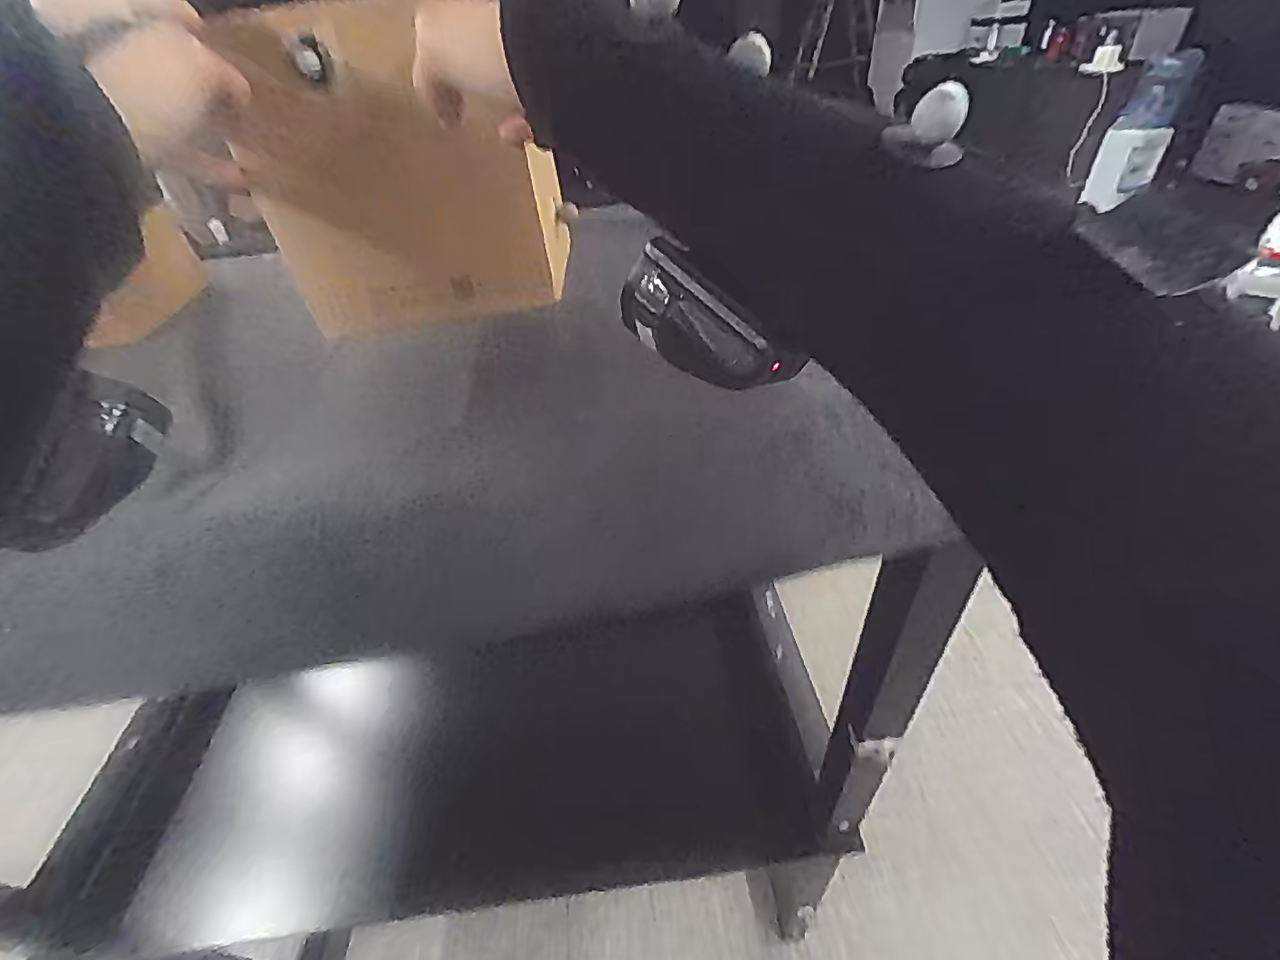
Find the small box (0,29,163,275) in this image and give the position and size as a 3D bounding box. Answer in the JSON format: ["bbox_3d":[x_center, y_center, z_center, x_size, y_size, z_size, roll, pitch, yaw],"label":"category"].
[{"bbox_3d":[-0.612,-0.300,0.505,0.168,0.176,0.179,-10,41,-5],"label":"small box"}]

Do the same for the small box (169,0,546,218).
[{"bbox_3d":[-0.159,-0.275,0.337,0.168,0.176,0.179,-8,37,1],"label":"small box"}]
